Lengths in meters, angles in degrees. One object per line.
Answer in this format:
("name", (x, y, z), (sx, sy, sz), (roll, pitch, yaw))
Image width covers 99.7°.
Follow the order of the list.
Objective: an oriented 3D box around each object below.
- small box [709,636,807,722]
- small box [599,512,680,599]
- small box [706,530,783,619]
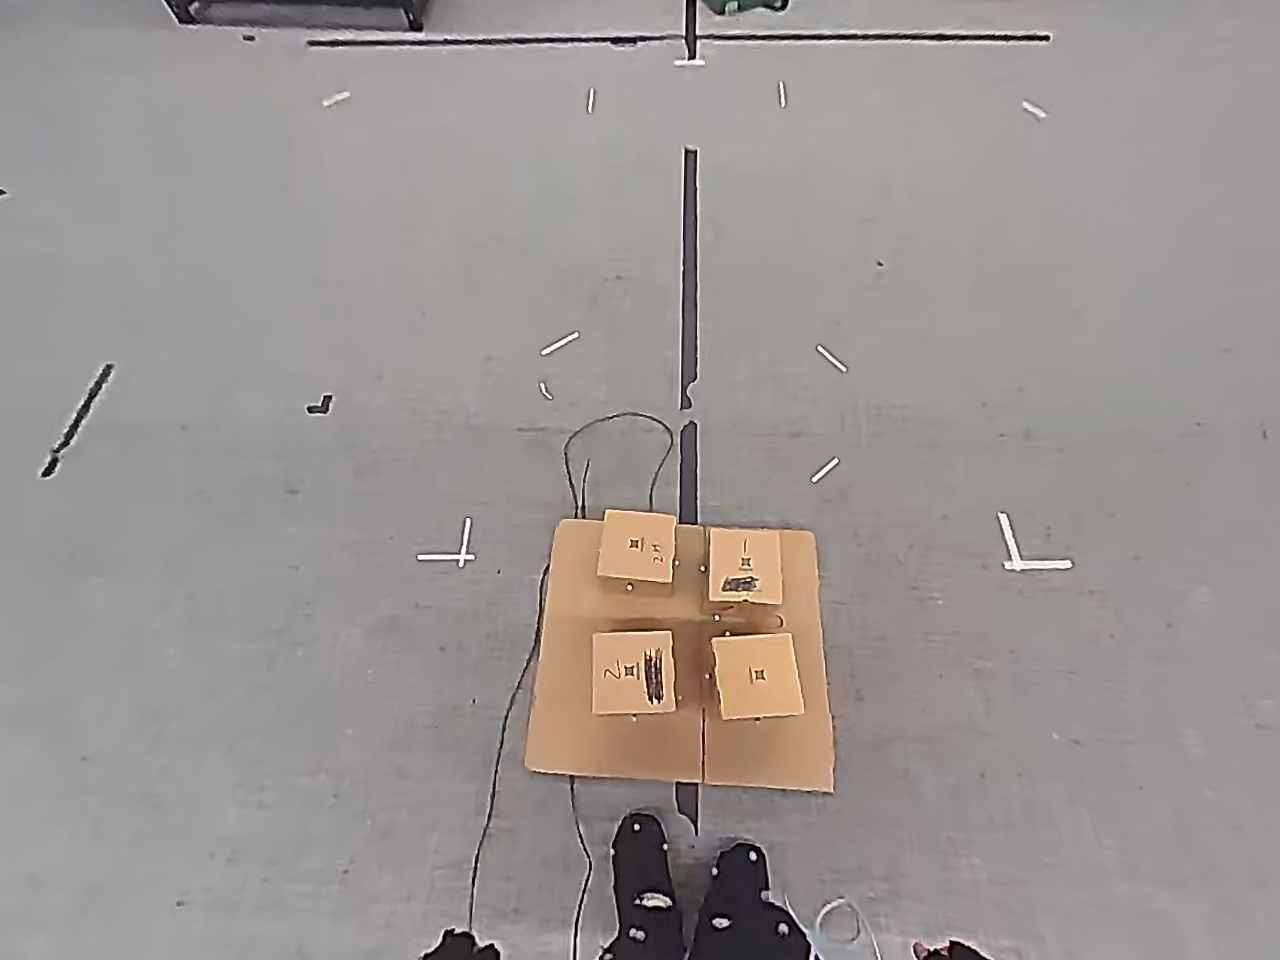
("small box", (0.257, 0.450, 1.218), (0.179, 0.176, 0.168), (-4, 65, 1))
("small box", (0.003, 0.191, 1.340), (0.179, 0.176, 0.168), (6, 65, 3))
("small box", (0.251, 0.236, 1.318), (0.168, 0.176, 0.179), (3, 64, 3))
